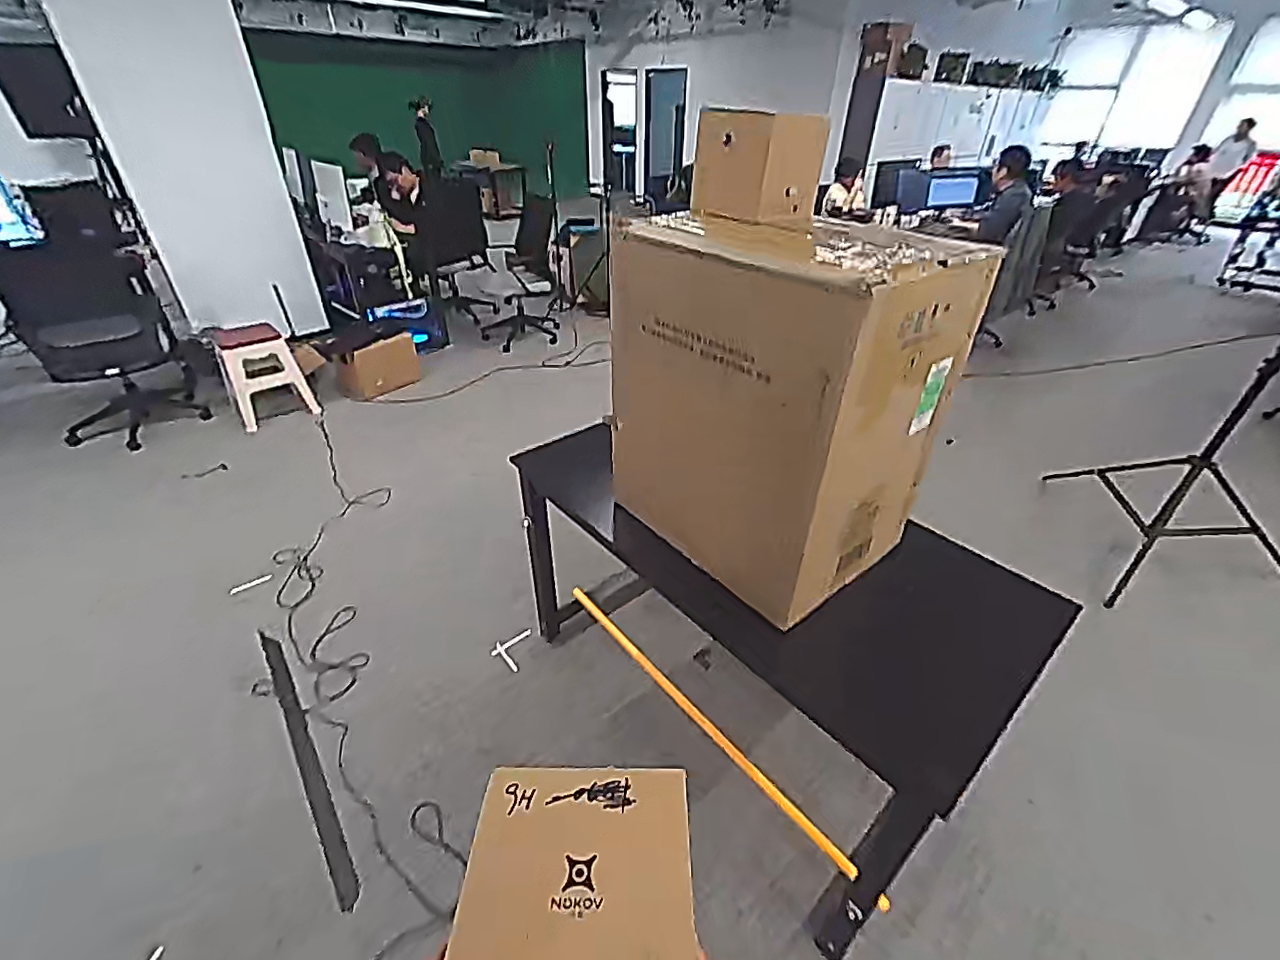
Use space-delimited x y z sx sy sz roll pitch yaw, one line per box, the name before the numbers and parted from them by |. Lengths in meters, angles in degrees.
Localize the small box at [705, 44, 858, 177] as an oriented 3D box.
small box | 0.231 -0.626 0.926 0.168 0.176 0.179 -23 43 -33
